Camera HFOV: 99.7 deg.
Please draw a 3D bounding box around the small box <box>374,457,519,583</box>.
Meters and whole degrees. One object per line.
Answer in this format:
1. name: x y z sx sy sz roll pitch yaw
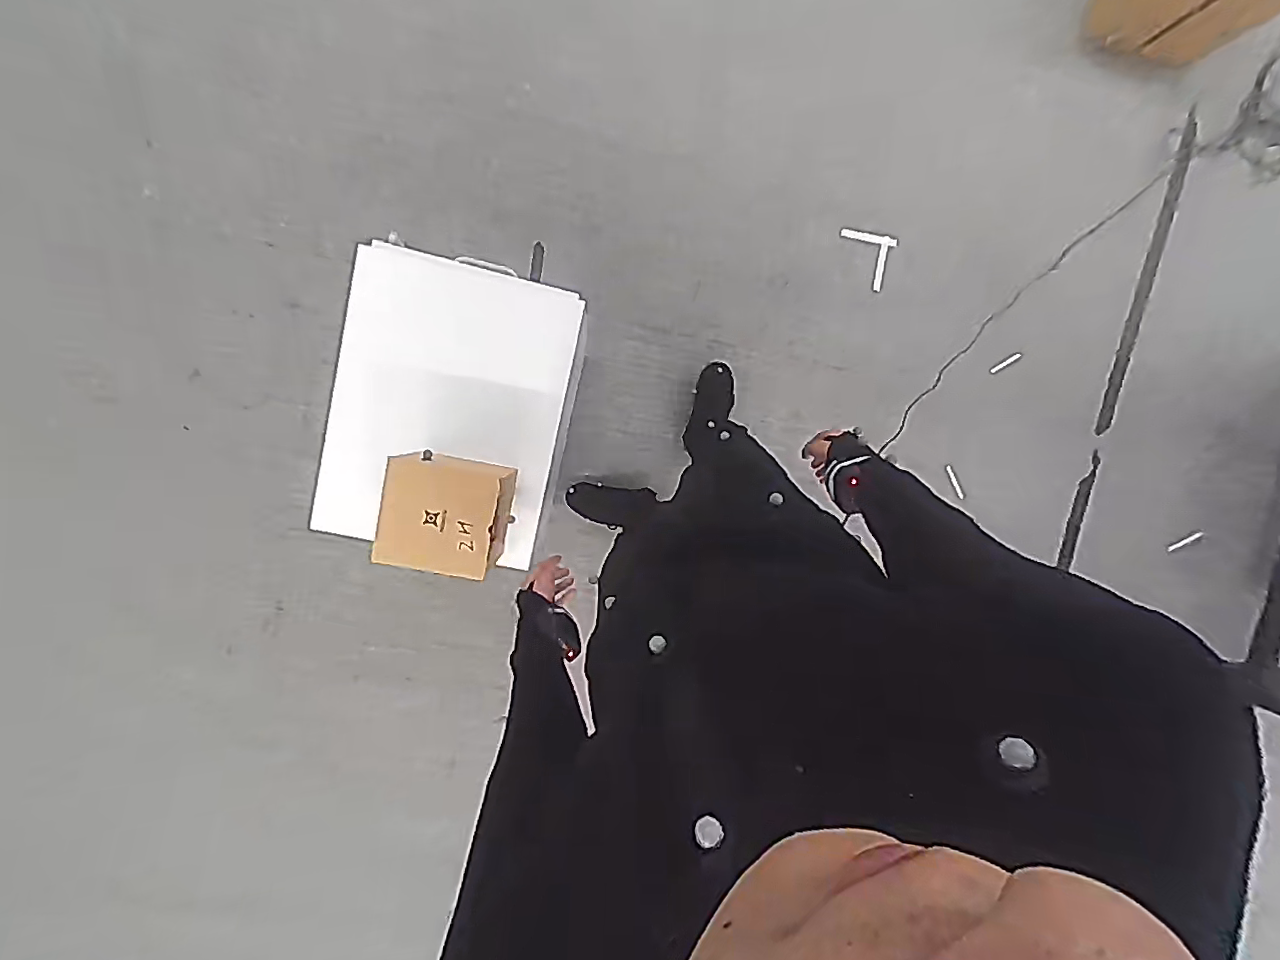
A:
1. small box: -0.315 0.057 0.909 0.179 0.176 0.168 11 96 -5
